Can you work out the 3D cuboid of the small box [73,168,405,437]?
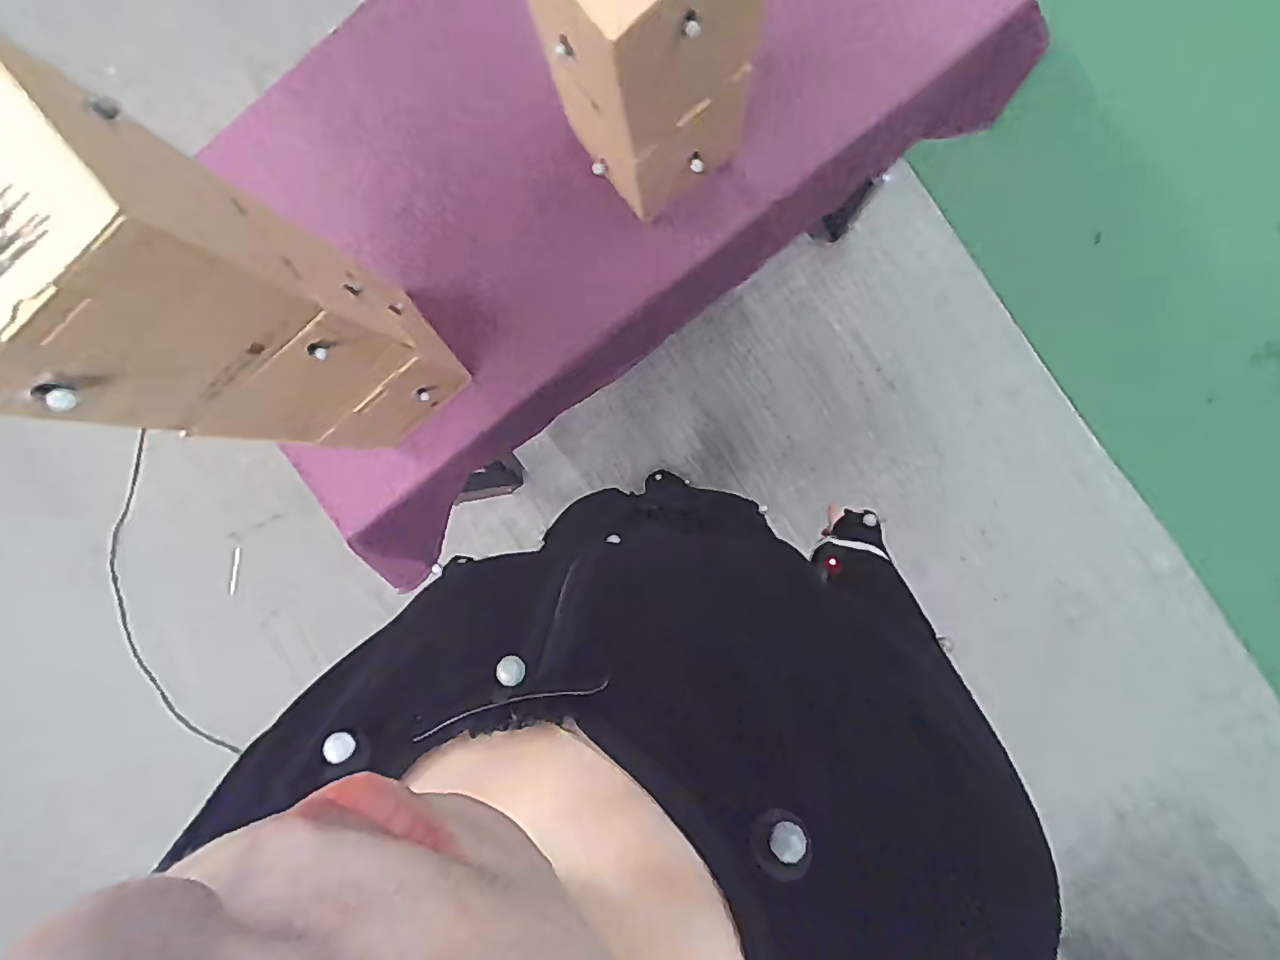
[{"bbox_3d":[-0.385,-0.159,0.554,0.179,0.176,0.168,-41,89,3],"label":"small box"}]

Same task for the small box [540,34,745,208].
[{"bbox_3d":[0.008,-0.476,0.676,0.168,0.176,0.179,-37,90,4],"label":"small box"}]

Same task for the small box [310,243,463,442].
[{"bbox_3d":[-0.370,-0.166,0.715,0.168,0.176,0.179,-39,88,4],"label":"small box"}]

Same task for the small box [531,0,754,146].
[{"bbox_3d":[-0.001,-0.470,0.511,0.179,0.176,0.168,-38,89,5],"label":"small box"}]
